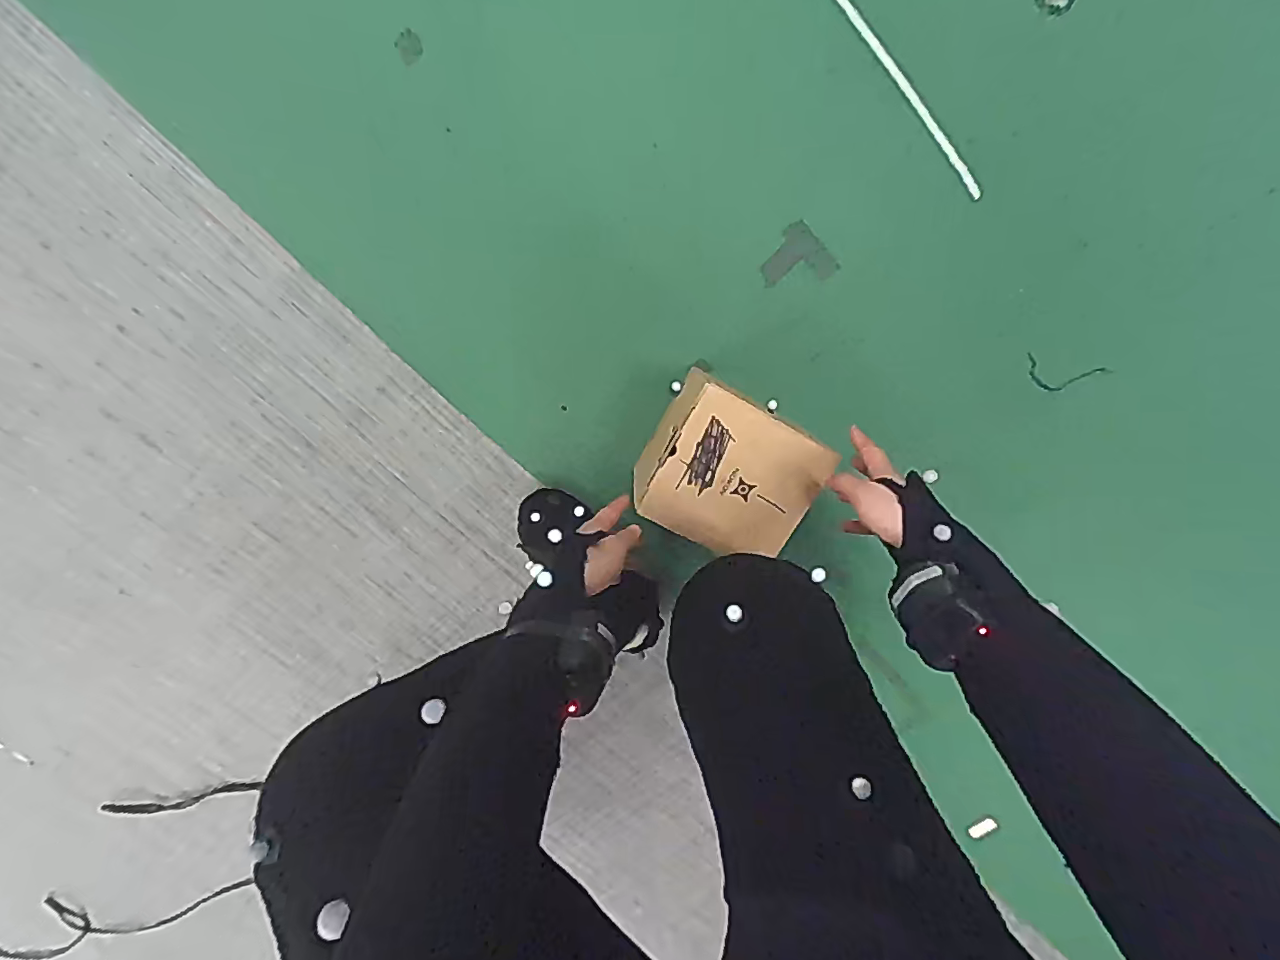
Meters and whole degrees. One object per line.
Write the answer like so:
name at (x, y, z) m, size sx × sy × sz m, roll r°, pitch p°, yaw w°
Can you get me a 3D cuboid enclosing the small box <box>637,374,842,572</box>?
small box at (0.108, -0.020, 0.675) m, size 0.179 × 0.176 × 0.168 m, roll 27°, pitch 106°, yaw -9°
